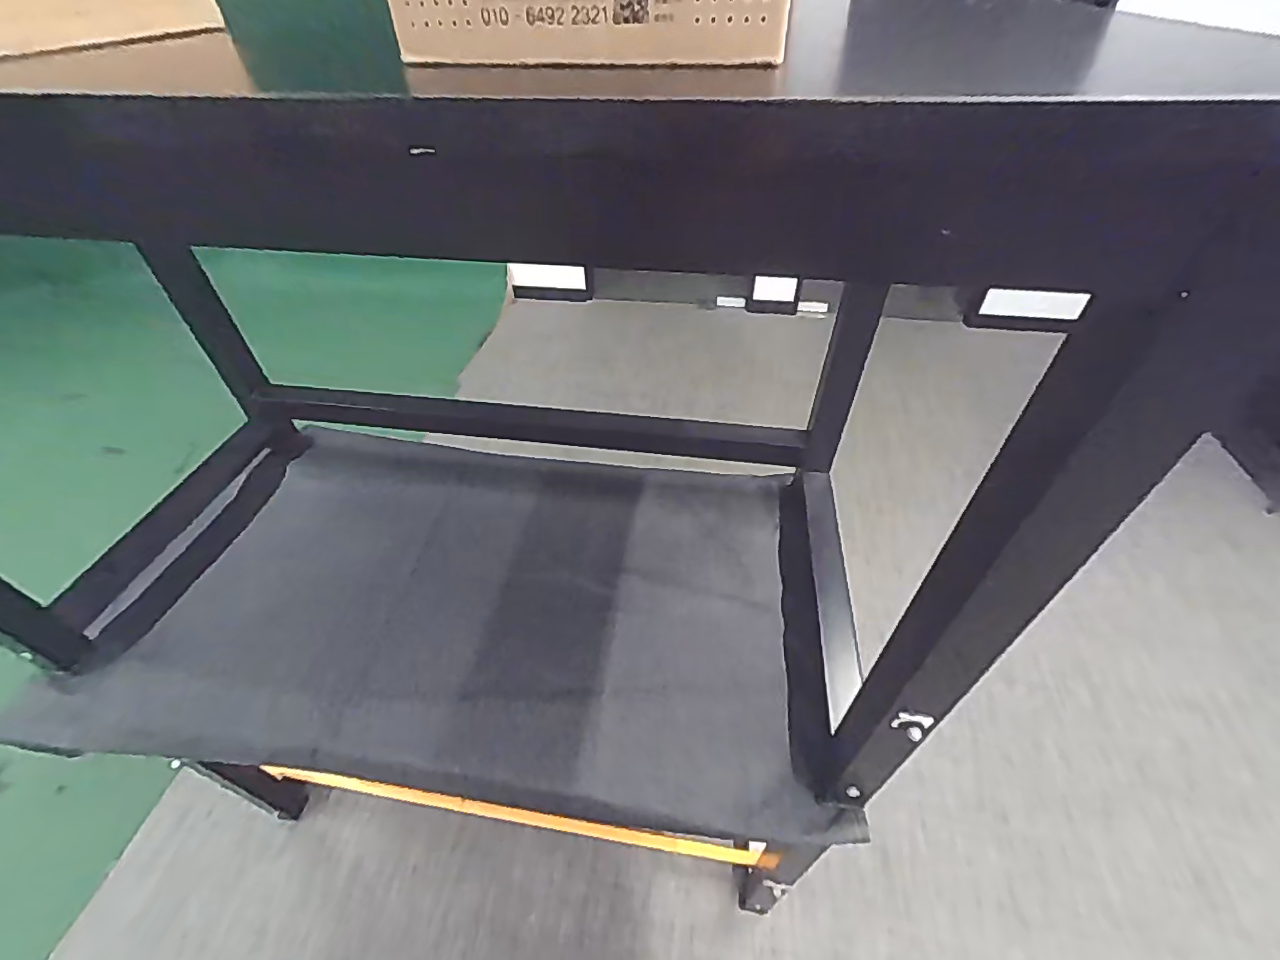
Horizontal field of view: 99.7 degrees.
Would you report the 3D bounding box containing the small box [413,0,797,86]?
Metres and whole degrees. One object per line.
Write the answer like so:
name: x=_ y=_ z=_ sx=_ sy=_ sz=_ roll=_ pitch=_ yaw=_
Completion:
small box: x=-0.007 y=-0.285 z=0.232 sx=0.168 sy=0.176 sz=0.179 roll=7 pitch=45 yaw=8
